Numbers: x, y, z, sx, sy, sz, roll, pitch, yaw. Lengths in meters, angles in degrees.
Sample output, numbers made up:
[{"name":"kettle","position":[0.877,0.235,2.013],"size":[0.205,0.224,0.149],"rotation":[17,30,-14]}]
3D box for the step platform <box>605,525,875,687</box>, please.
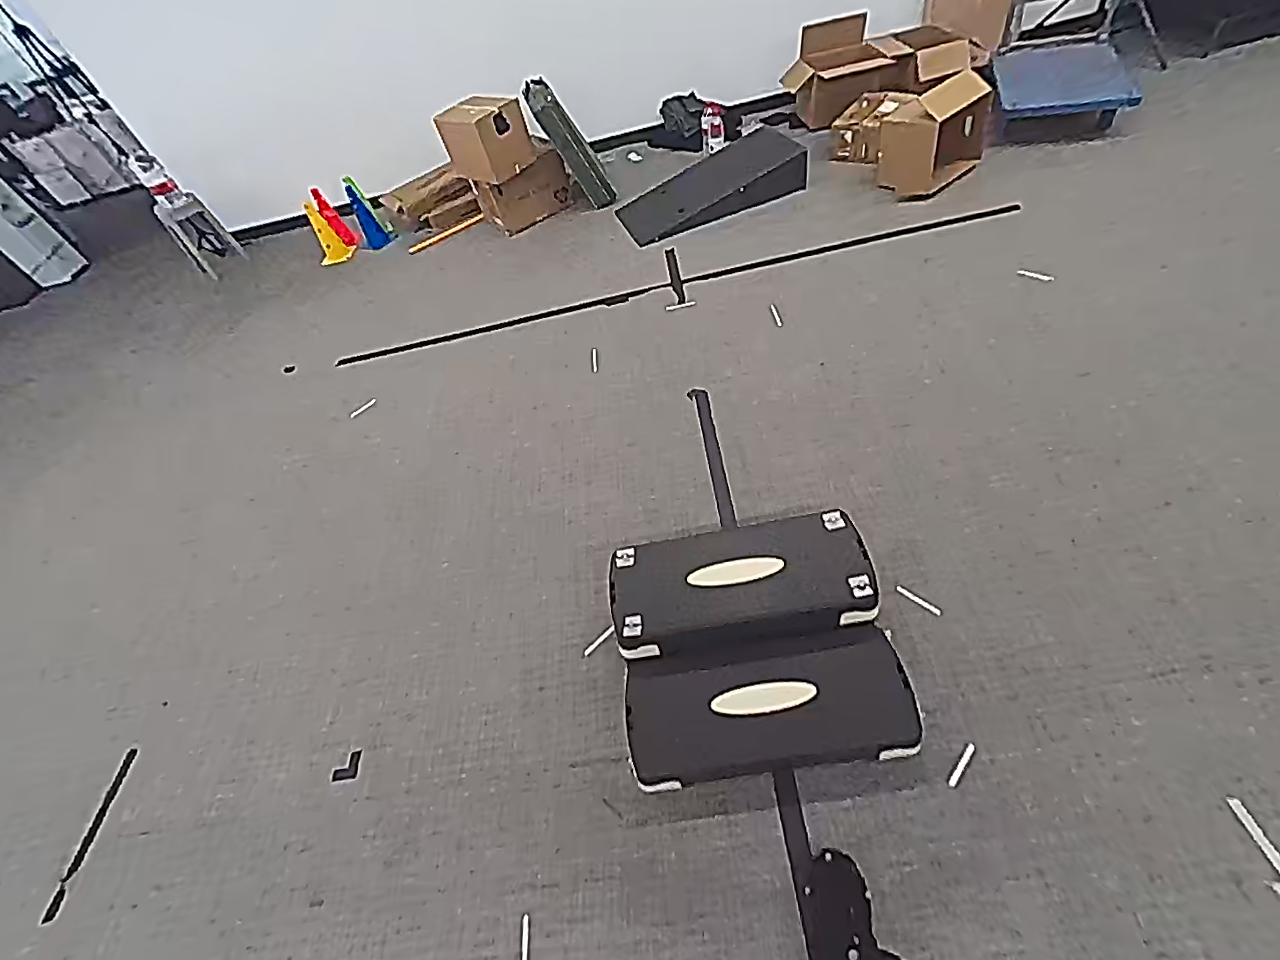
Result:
[{"name":"step platform","position":[0.249,0.331,1.439],"size":[0.684,0.204,0.286],"rotation":[-11,50,4]}]
